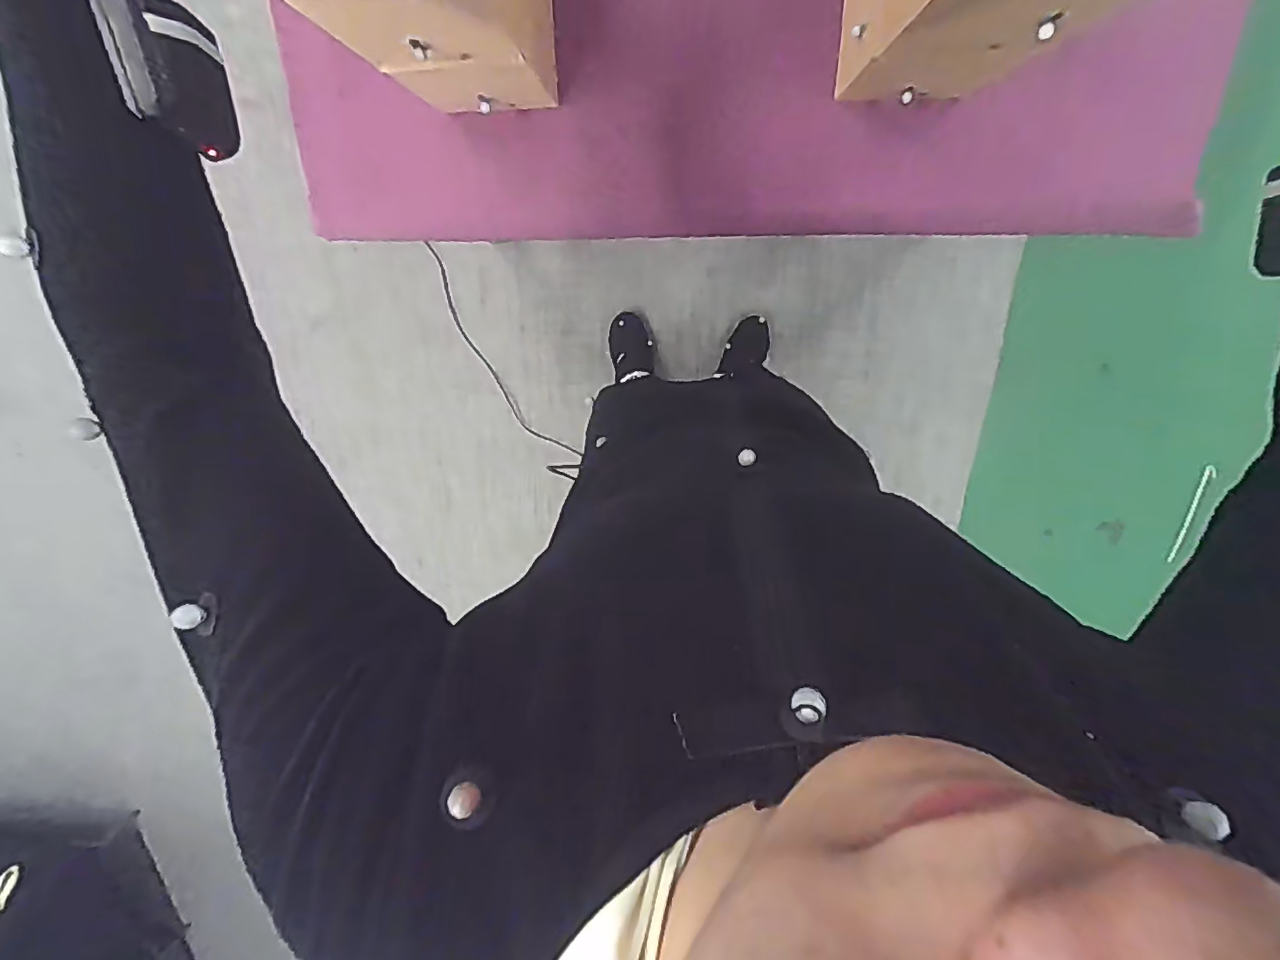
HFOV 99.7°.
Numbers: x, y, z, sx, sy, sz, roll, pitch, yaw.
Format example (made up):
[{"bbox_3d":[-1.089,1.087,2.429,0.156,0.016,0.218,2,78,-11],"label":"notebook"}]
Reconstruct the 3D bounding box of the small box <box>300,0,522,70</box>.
[{"bbox_3d":[-0.213,-0.504,0.481,0.168,0.176,0.179,-1,110,5],"label":"small box"}]

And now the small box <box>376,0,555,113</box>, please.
[{"bbox_3d":[-0.201,-0.558,0.633,0.168,0.176,0.179,1,111,5],"label":"small box"}]

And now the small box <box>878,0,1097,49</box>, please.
[{"bbox_3d":[0.310,-0.483,0.442,0.168,0.176,0.179,1,111,4],"label":"small box"}]
